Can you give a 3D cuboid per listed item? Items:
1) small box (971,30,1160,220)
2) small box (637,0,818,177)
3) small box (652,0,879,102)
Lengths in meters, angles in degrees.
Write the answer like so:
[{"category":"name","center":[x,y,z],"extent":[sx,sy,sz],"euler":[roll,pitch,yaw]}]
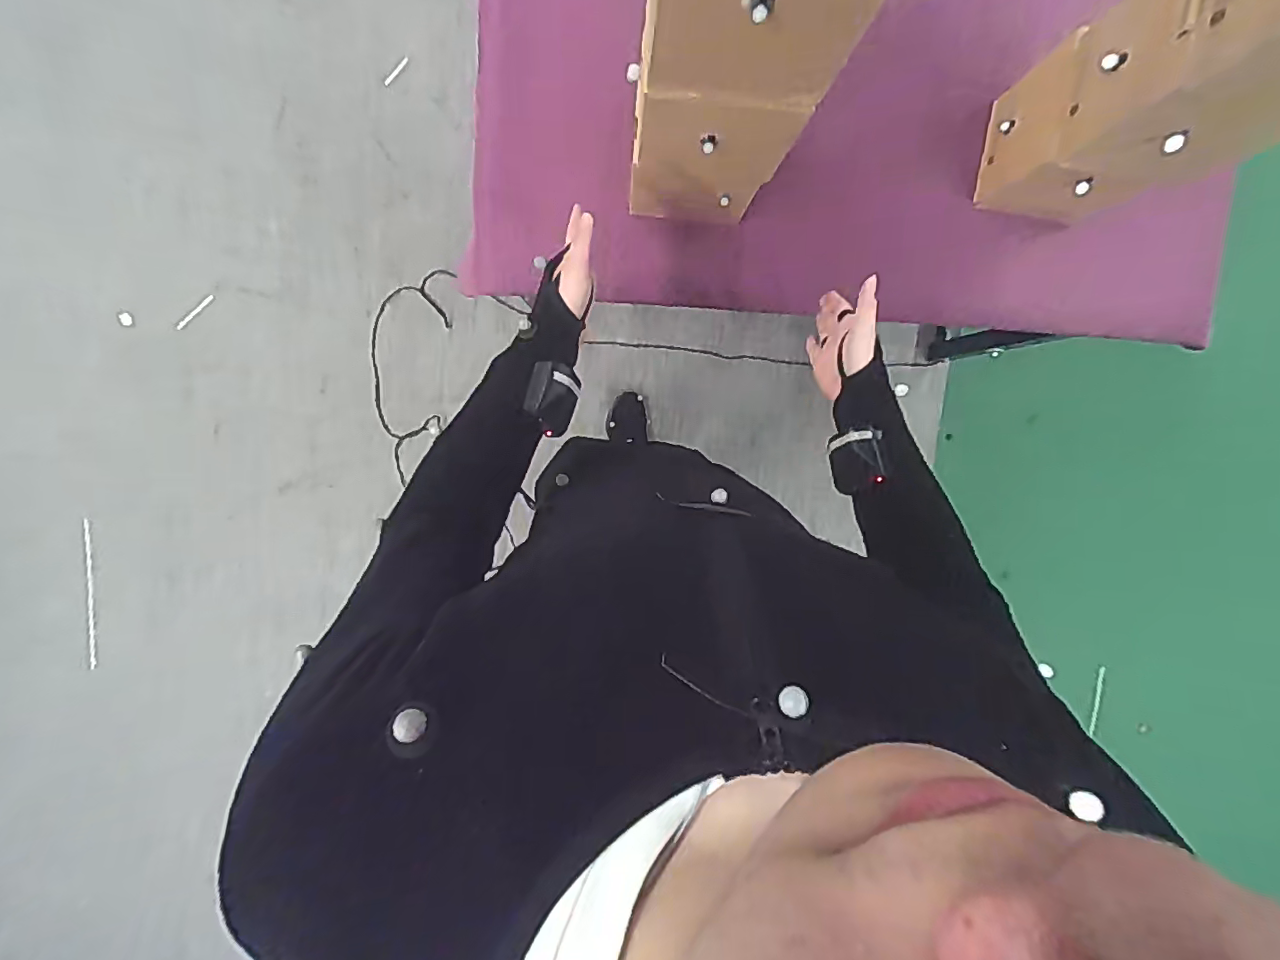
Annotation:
[{"category":"small box","center":[0.638,-0.504,0.798],"extent":[0.179,0.176,0.168],"euler":[9,96,-3]},{"category":"small box","center":[0.093,-0.464,0.606],"extent":[0.179,0.176,0.168],"euler":[4,96,-3]},{"category":"small box","center":[0.106,-0.449,0.444],"extent":[0.179,0.176,0.168],"euler":[5,97,-4]}]
